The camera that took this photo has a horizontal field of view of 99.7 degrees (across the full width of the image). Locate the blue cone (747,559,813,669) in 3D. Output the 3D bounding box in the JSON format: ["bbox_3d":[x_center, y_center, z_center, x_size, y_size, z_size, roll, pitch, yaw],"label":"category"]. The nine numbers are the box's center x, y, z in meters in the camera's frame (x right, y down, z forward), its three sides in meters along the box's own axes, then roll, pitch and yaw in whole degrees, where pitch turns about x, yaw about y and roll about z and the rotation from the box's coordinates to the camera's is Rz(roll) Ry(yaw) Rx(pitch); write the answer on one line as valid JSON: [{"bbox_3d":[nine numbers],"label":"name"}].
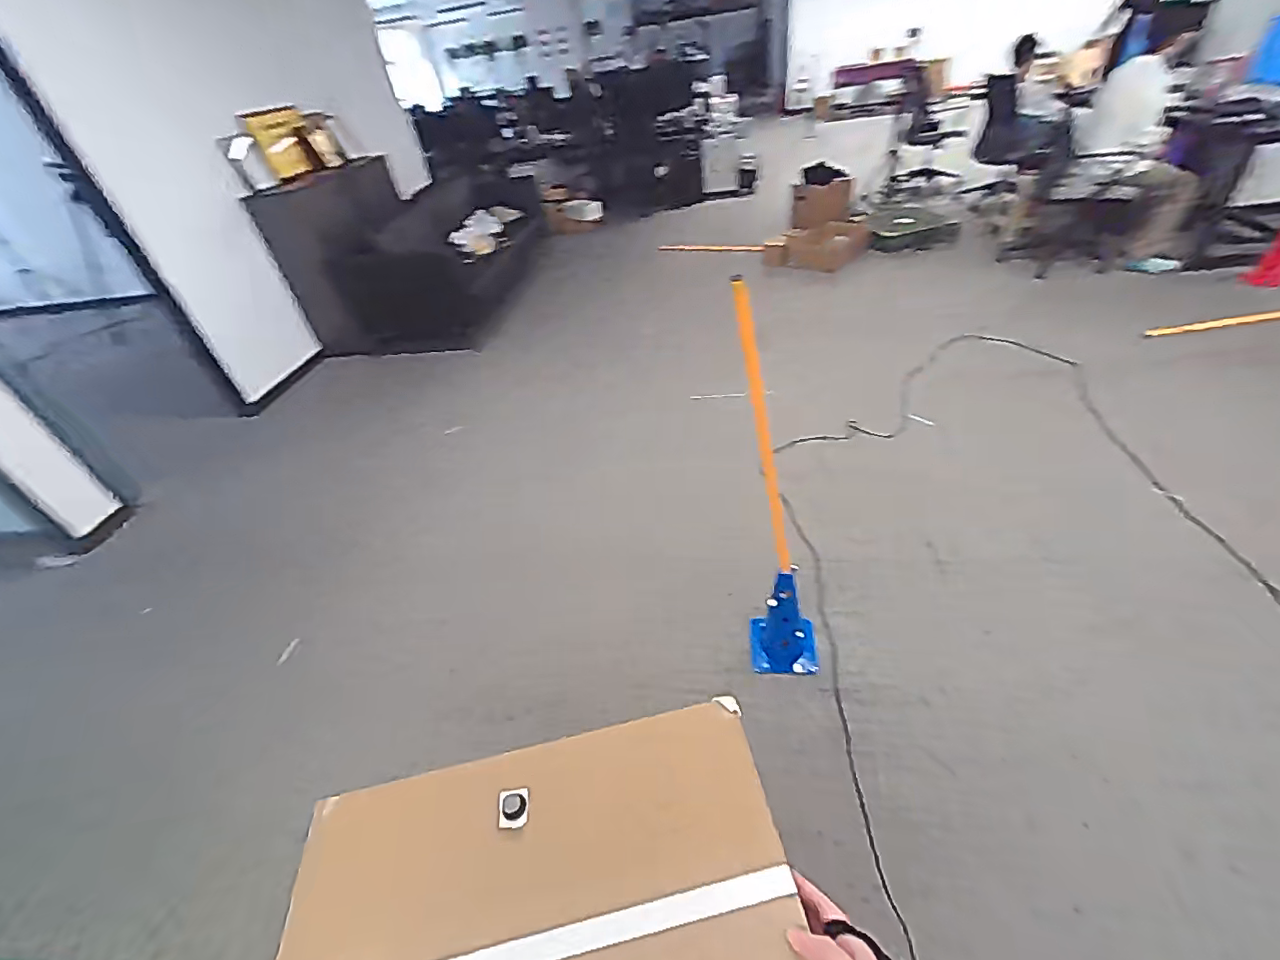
[{"bbox_3d":[0.412,0.381,1.595,0.193,0.380,0.192,-4,38,9],"label":"blue cone"}]
